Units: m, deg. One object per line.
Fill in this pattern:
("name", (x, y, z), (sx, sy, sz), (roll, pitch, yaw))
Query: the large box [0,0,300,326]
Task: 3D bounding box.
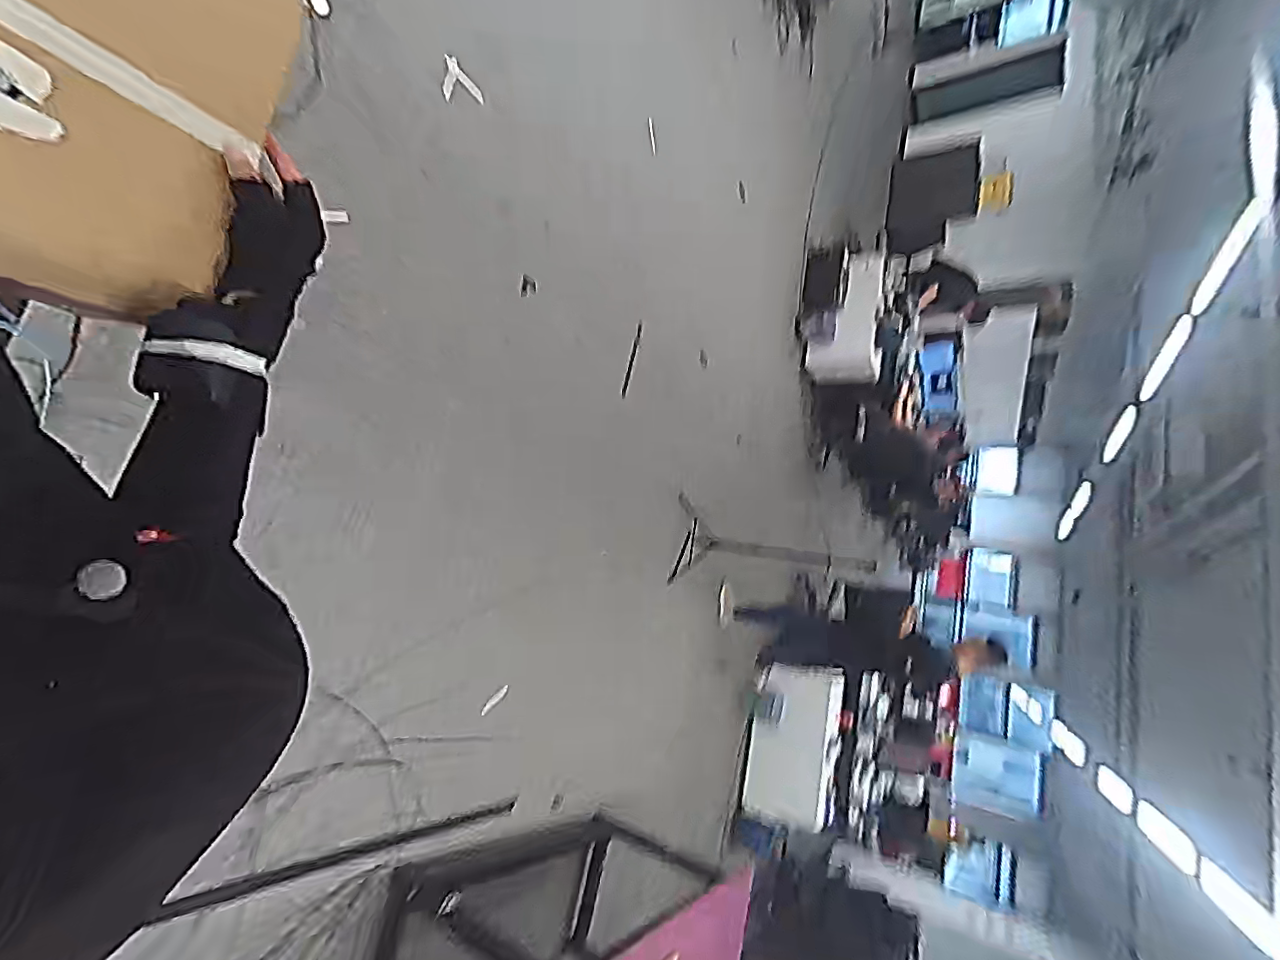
("large box", (-0.552, -0.335, 0.368), (0.408, 0.320, 0.320), (19, 87, -58))
